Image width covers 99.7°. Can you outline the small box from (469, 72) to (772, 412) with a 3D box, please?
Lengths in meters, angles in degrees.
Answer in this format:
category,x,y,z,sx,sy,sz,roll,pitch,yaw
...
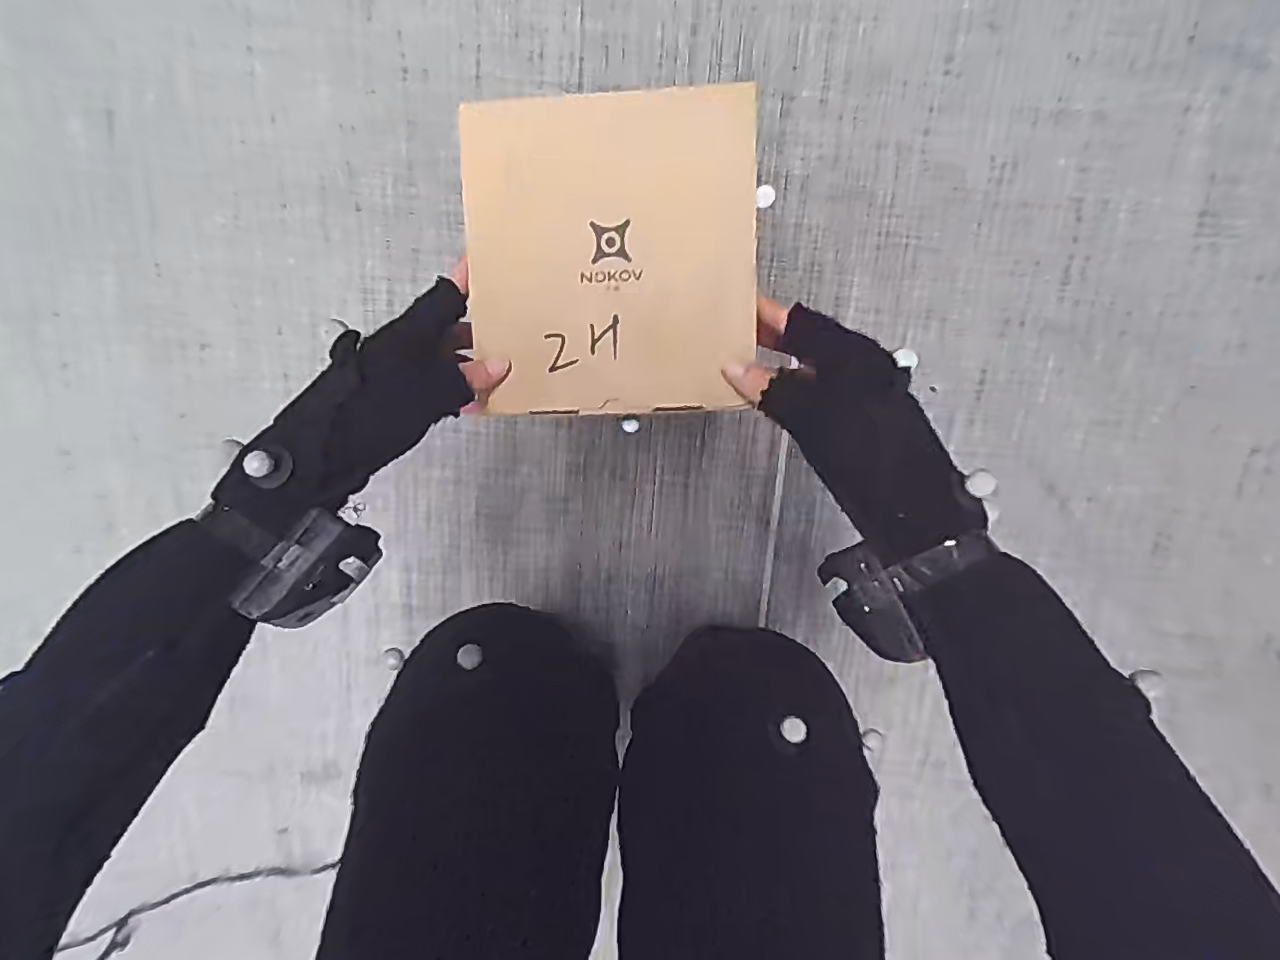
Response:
category,x,y,z,sx,sy,sz,roll,pitch,yaw
small box,-0.006,-0.137,0.377,0.168,0.176,0.179,-1,98,5
